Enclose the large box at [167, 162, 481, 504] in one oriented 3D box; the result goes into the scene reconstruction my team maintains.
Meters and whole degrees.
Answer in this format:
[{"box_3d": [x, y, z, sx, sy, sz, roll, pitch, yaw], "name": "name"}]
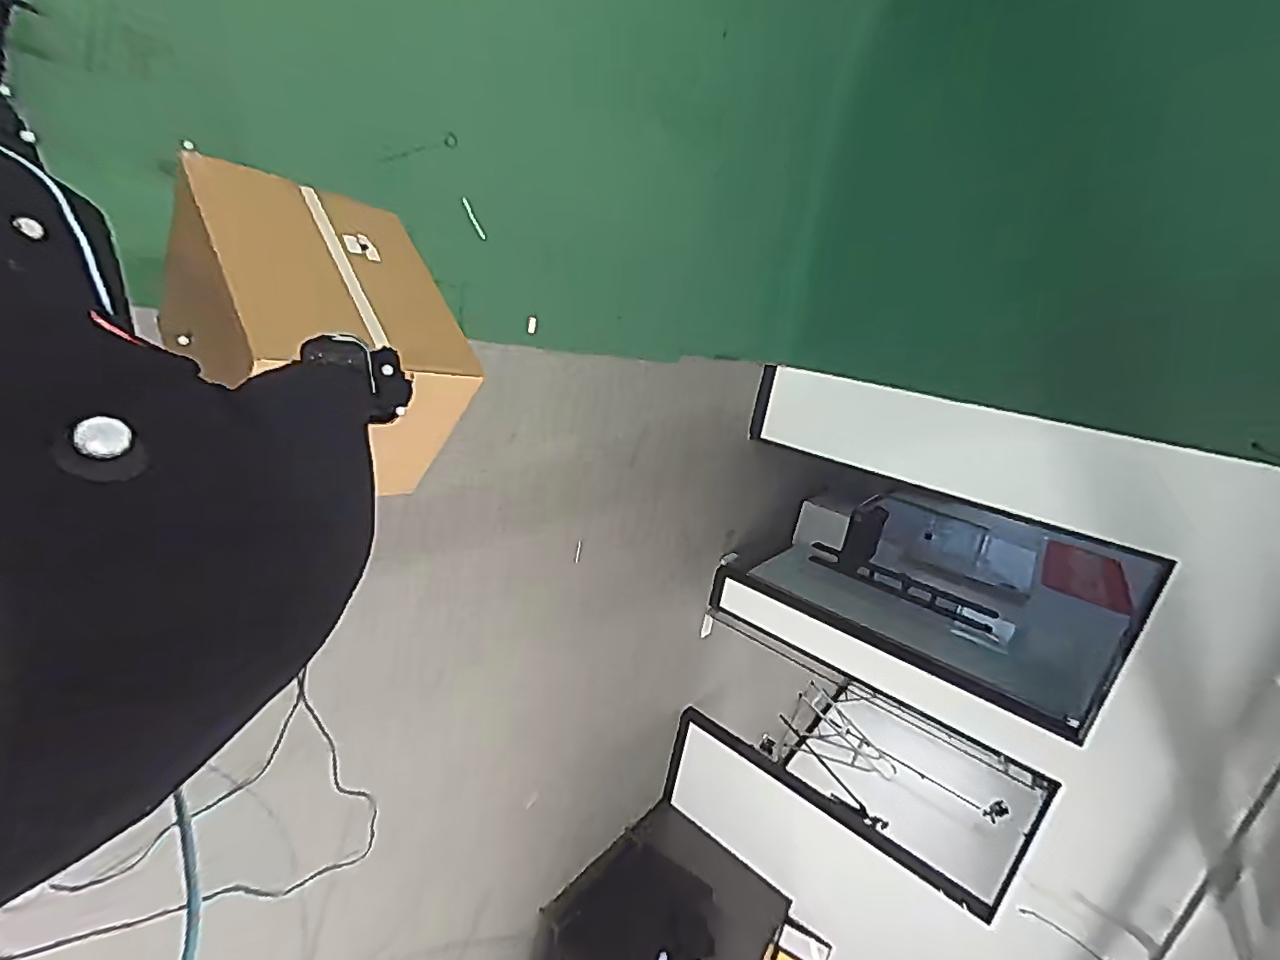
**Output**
[{"box_3d": [-0.535, -0.220, 0.898, 0.320, 0.408, 0.320, -7, 148, -51], "name": "large box"}]
